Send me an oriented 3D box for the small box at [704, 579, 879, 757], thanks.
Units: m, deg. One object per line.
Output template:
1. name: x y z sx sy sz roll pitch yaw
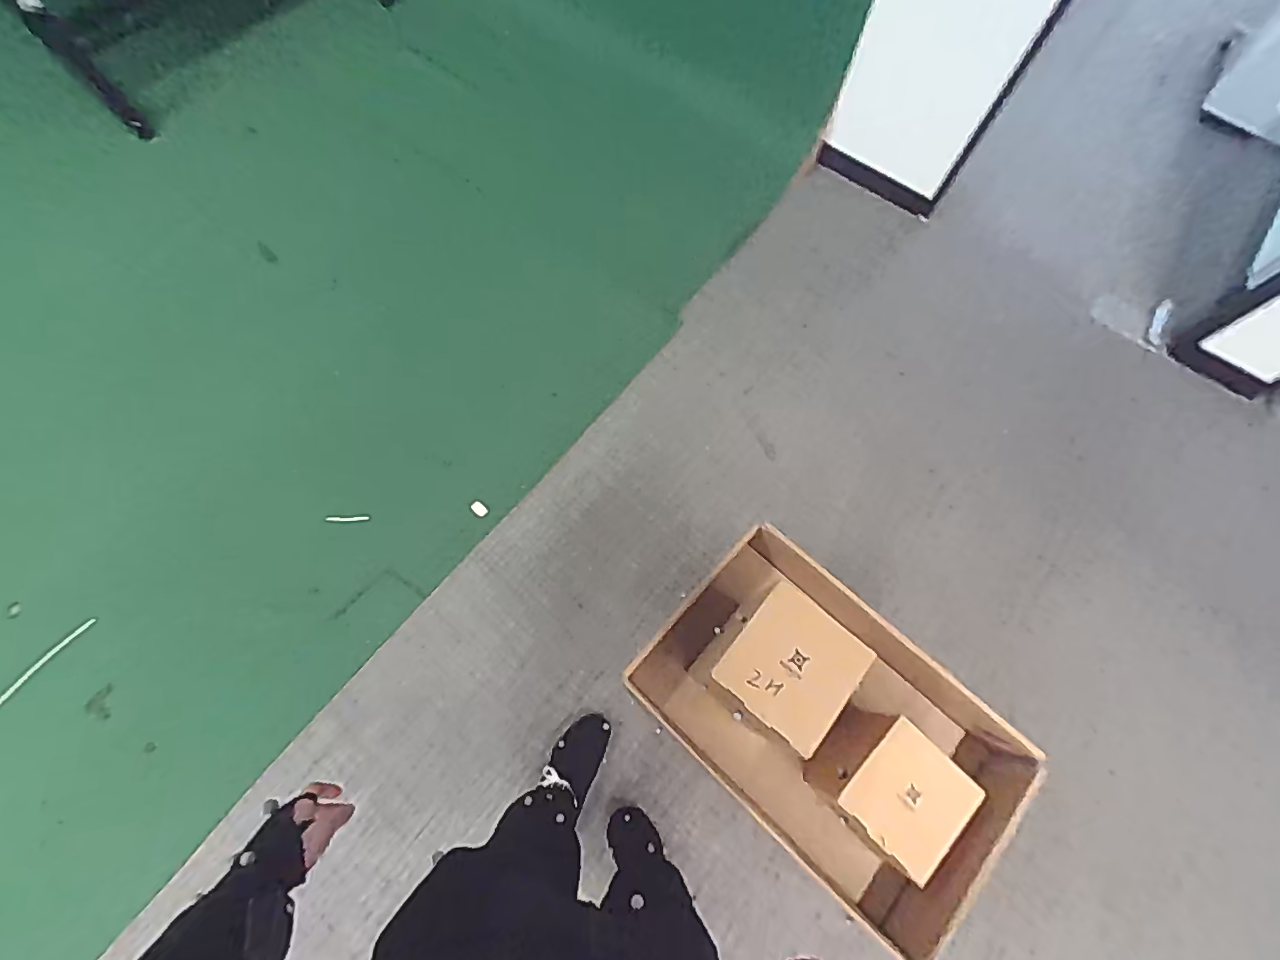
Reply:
1. small box: 0.214 0.278 0.816 0.168 0.176 0.179 39 74 12
